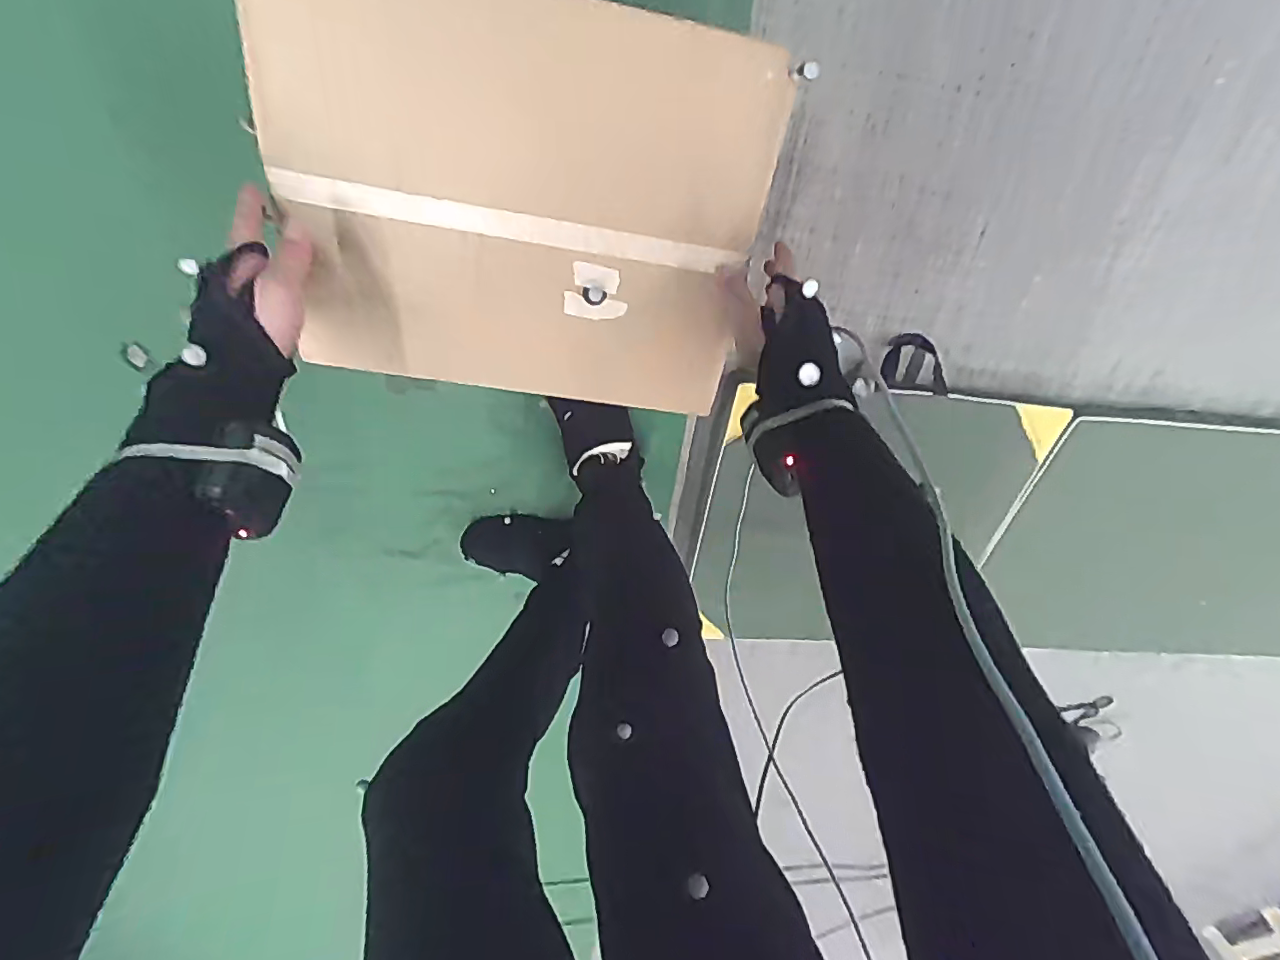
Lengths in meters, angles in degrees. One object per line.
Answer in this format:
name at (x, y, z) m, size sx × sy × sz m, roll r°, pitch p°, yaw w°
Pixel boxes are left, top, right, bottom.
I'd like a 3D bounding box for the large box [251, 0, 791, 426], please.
large box at (-0.112, -0.281, 0.600) m, size 0.408 × 0.320 × 0.320 m, roll 6°, pitch 122°, yaw -9°
